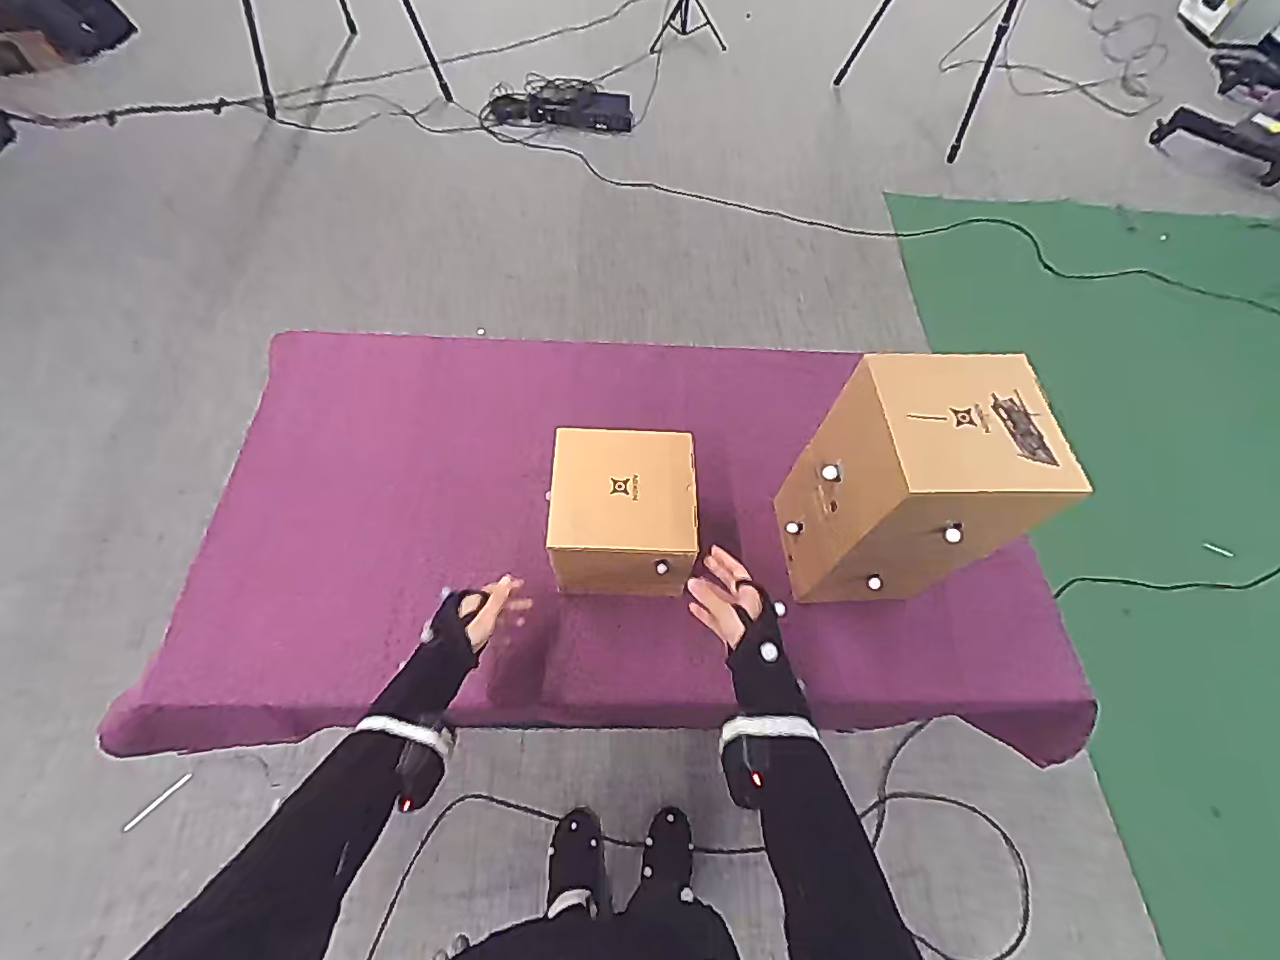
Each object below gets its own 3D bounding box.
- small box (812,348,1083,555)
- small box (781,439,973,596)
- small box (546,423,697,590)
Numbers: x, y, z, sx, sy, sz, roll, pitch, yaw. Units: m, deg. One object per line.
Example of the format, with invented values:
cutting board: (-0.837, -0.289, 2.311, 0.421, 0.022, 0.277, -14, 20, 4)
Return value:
small box: (0.312, -0.023, 0.594, 0.179, 0.176, 0.168, 0, 60, -4)
small box: (0.303, 0.055, 0.739, 0.179, 0.176, 0.168, -1, 61, -4)
small box: (-0.024, 0.042, 0.726, 0.179, 0.176, 0.168, 3, 60, -3)
